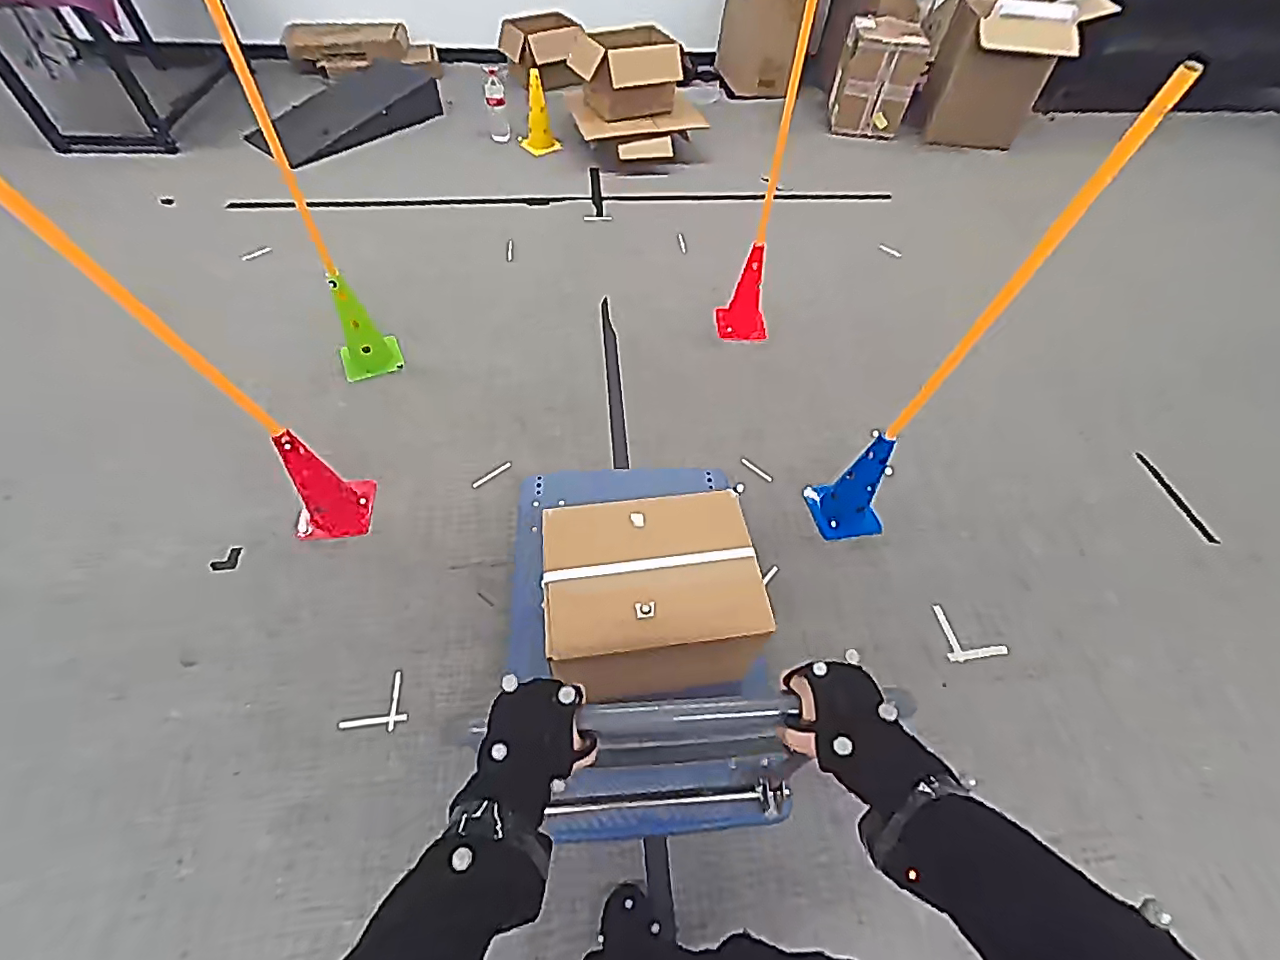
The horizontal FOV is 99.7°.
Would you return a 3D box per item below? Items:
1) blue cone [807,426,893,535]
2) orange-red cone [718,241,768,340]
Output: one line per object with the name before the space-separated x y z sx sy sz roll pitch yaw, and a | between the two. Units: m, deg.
blue cone | 0.649 -0.010 1.576 0.193 0.380 0.192 -6 54 -8
orange-red cone | 0.430 -0.742 2.072 0.199 0.360 0.198 3 55 -3
